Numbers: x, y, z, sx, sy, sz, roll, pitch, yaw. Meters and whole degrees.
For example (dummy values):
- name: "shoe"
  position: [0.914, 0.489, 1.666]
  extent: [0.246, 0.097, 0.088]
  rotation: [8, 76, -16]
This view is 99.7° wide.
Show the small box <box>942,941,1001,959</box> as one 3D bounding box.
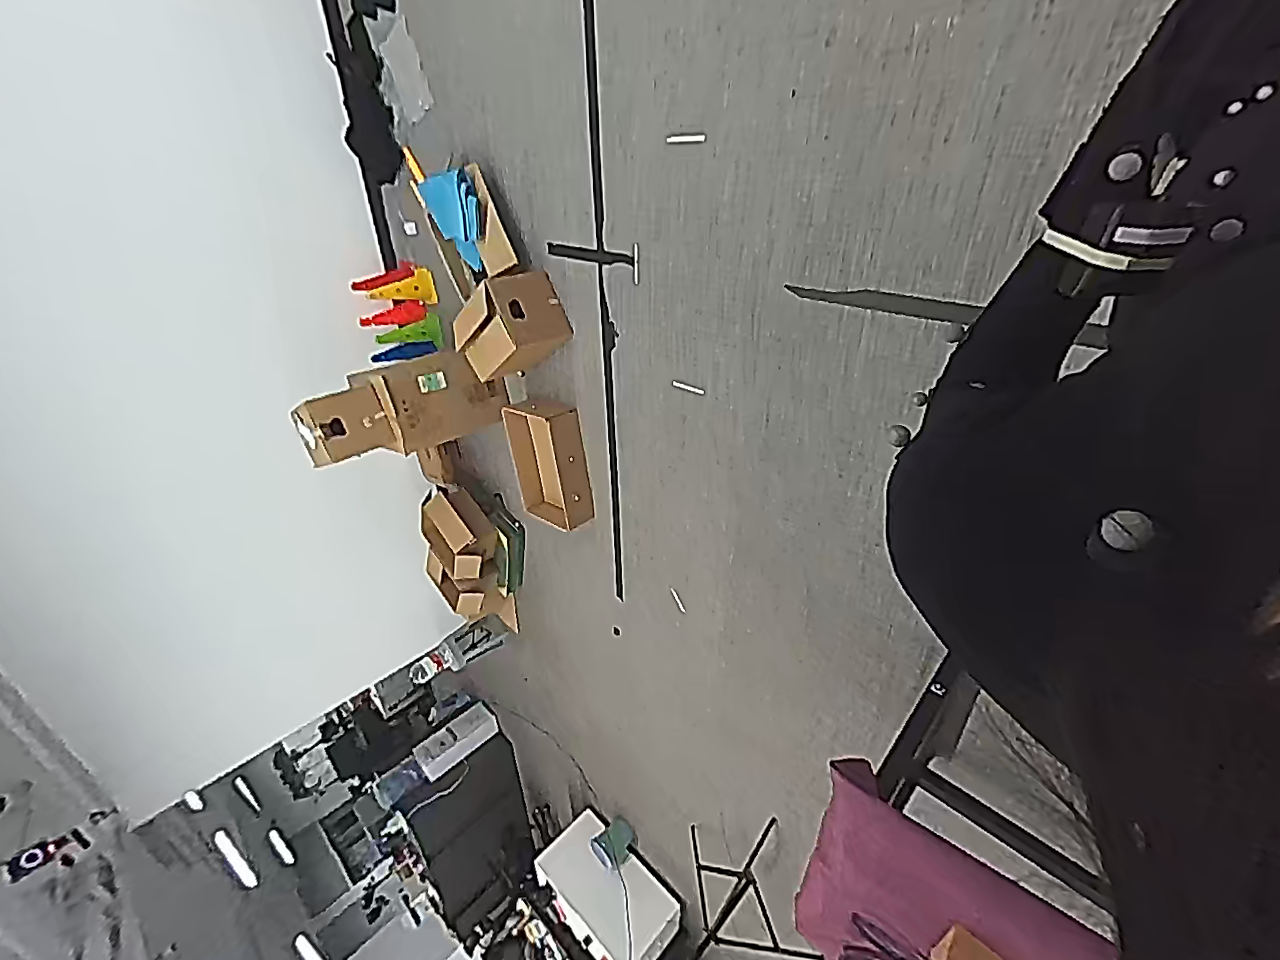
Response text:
- name: "small box"
  position: [0.647, 1.017, 1.008]
  extent: [0.179, 0.176, 0.168]
  rotation: [27, 132, 35]
